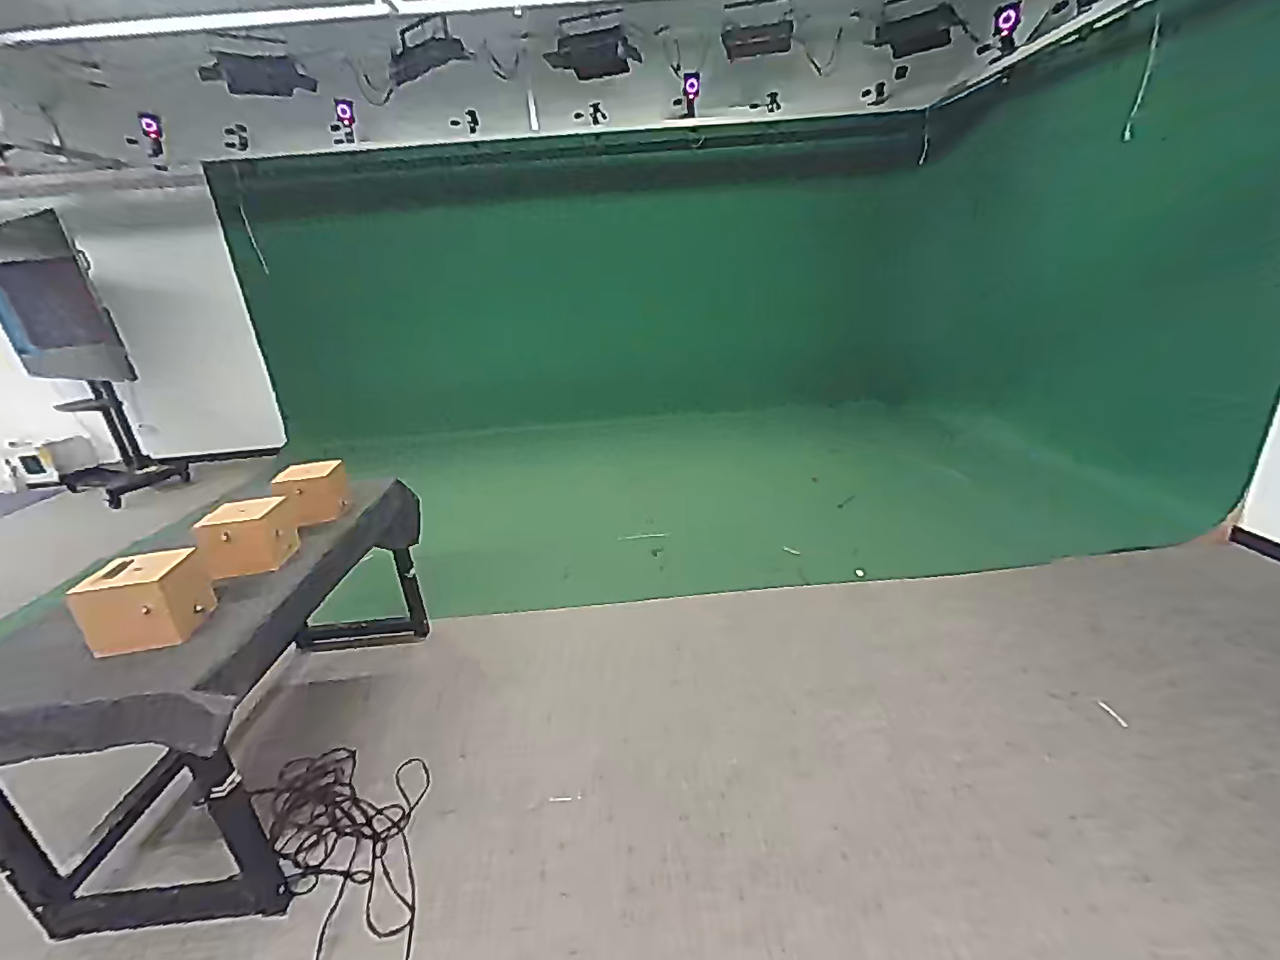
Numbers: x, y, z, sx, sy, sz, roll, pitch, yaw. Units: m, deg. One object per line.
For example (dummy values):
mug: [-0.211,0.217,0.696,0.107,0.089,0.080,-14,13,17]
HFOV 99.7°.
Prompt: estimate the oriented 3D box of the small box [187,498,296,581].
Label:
small box: [-1.127,0.169,1.549,0.179,0.176,0.168,-8,21,-7]

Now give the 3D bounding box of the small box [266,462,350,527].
small box: [-1.130,0.052,1.853,0.179,0.176,0.168,-7,22,-8]
